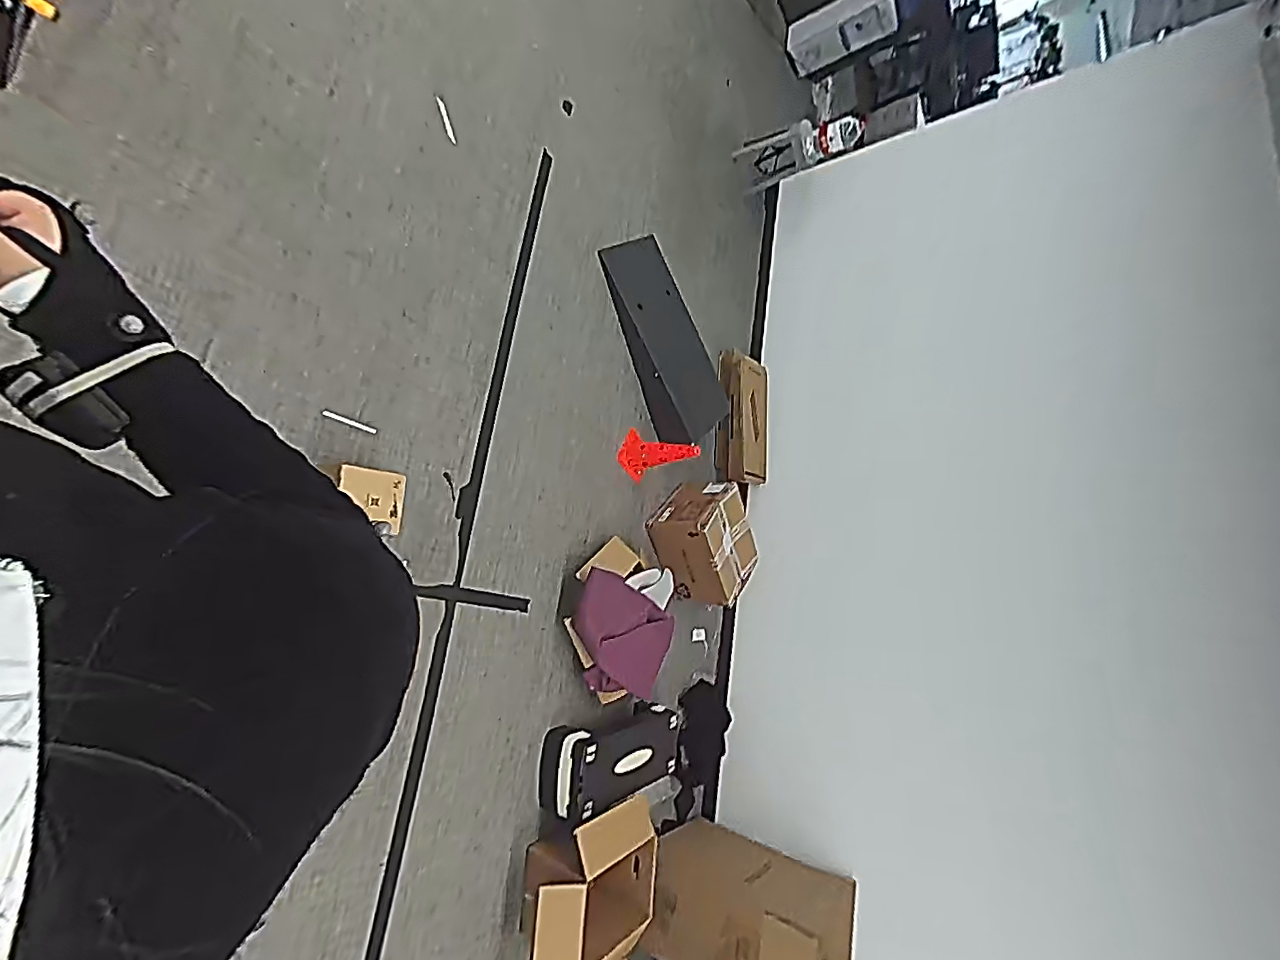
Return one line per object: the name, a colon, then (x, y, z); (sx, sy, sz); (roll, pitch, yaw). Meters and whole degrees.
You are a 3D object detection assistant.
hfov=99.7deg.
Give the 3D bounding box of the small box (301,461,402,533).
small box: (-0.771, 0.051, 1.443); (0.179, 0.176, 0.168); (16, 75, -52)
